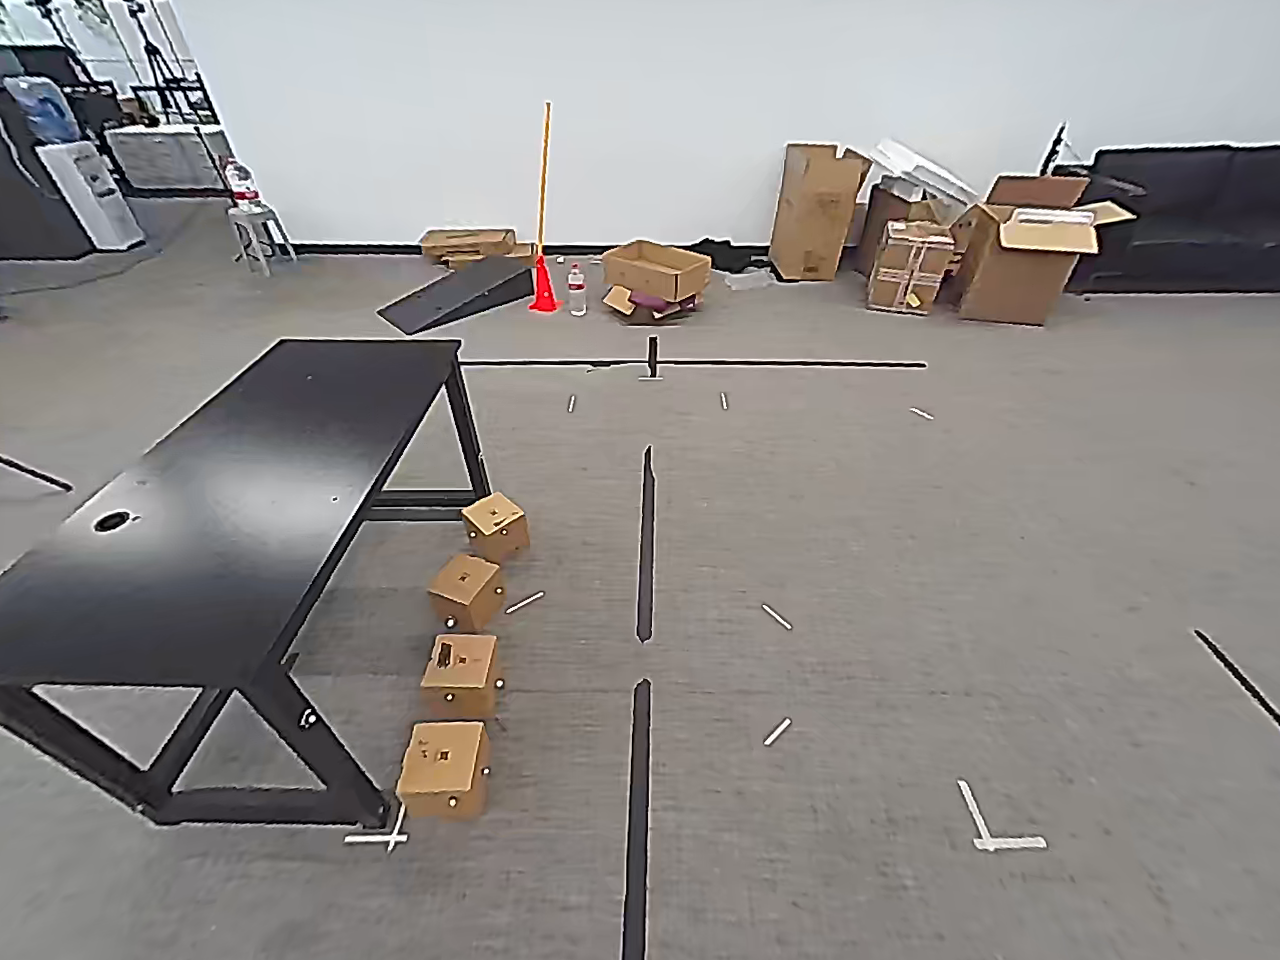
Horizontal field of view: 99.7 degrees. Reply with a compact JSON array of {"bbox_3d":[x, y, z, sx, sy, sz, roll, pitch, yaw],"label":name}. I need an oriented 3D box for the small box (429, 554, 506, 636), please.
[{"bbox_3d":[-0.565,0.384,1.801,0.168,0.176,0.179,14,43,17],"label":"small box"}]

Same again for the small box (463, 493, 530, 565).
[{"bbox_3d":[-0.536,0.186,2.029,0.179,0.176,0.168,32,50,32],"label":"small box"}]

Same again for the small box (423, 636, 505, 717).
[{"bbox_3d":[-0.504,0.573,1.574,0.179,0.176,0.168,1,40,-1],"label":"small box"}]
